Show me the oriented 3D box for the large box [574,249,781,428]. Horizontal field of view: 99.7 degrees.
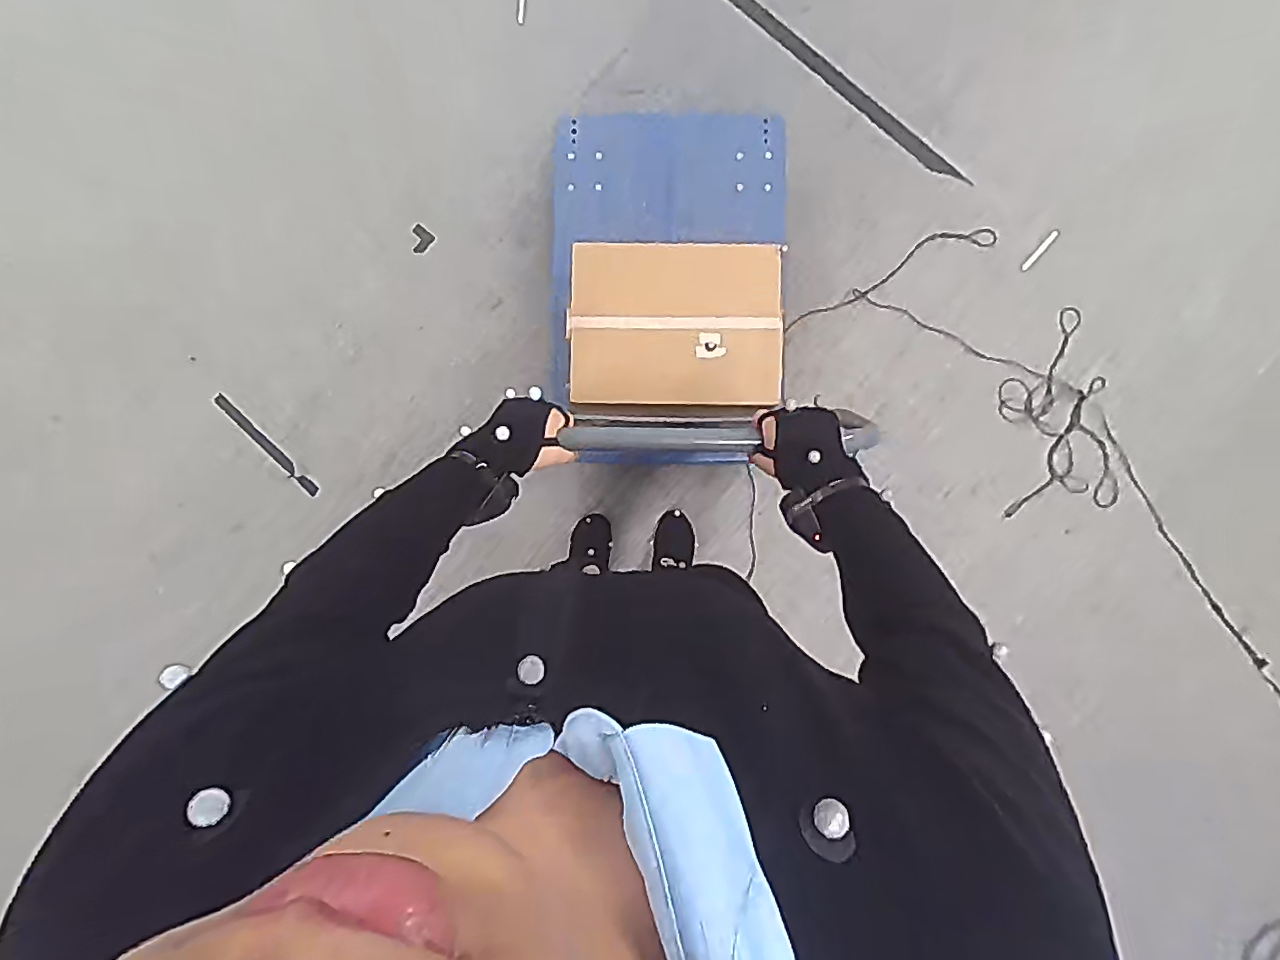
[{"bbox_3d":[0.069,-0.290,1.192,0.408,0.320,0.320,0,89,0],"label":"large box"}]
